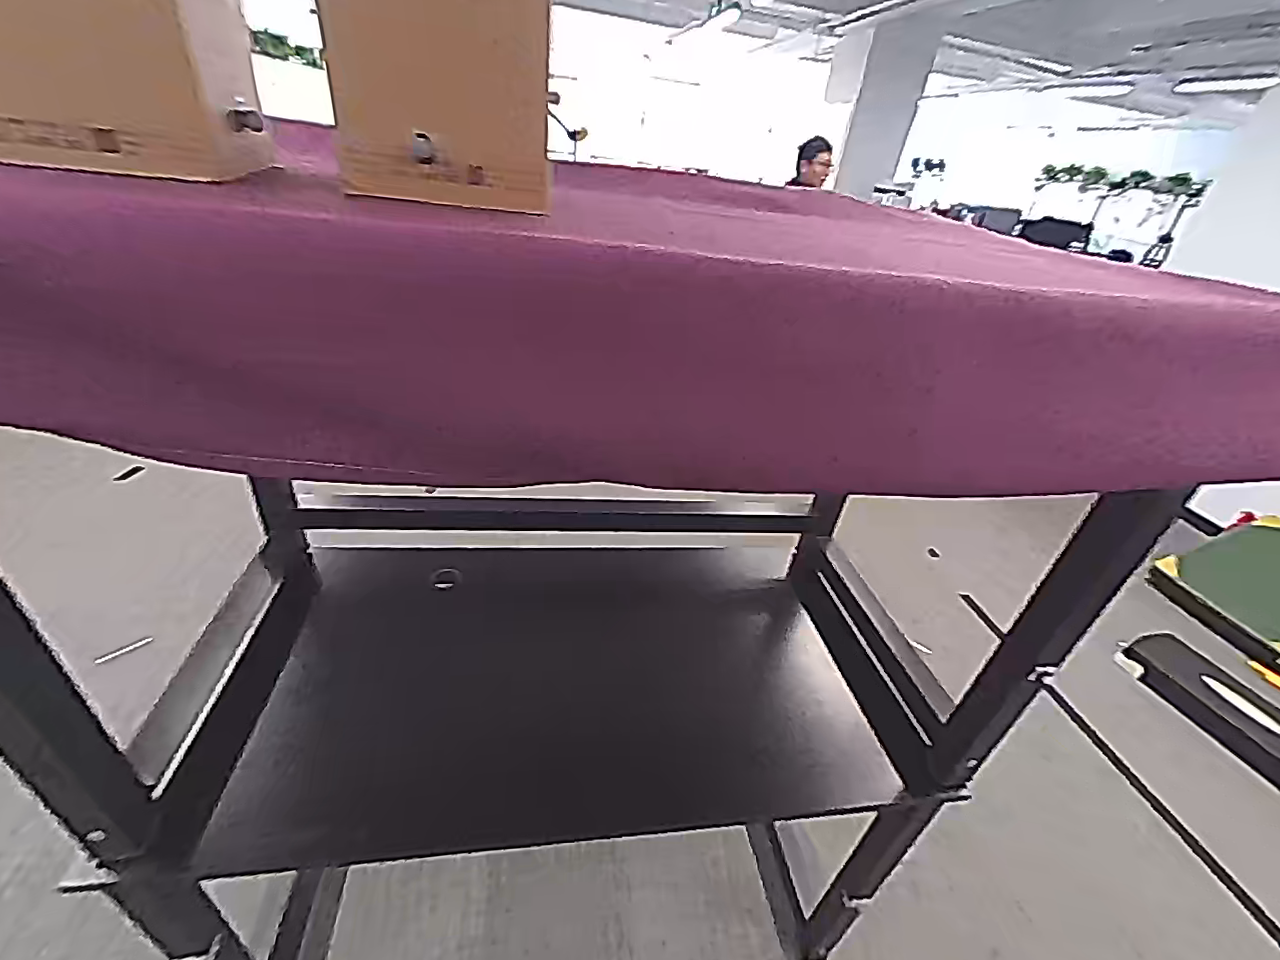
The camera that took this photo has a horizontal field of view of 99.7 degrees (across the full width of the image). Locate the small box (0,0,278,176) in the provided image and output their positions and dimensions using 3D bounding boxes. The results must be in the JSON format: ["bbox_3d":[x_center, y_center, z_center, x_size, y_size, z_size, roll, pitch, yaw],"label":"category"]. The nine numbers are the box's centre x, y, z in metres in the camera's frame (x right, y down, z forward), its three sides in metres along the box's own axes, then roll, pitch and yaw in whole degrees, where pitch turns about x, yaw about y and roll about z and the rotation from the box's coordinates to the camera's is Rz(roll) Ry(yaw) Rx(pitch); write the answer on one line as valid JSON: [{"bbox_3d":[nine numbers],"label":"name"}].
[{"bbox_3d":[-0.389,-0.332,0.394,0.168,0.176,0.179,-4,33,-18],"label":"small box"}]

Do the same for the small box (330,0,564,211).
[{"bbox_3d":[-0.155,-0.346,0.472,0.168,0.176,0.179,0,33,-11],"label":"small box"}]
